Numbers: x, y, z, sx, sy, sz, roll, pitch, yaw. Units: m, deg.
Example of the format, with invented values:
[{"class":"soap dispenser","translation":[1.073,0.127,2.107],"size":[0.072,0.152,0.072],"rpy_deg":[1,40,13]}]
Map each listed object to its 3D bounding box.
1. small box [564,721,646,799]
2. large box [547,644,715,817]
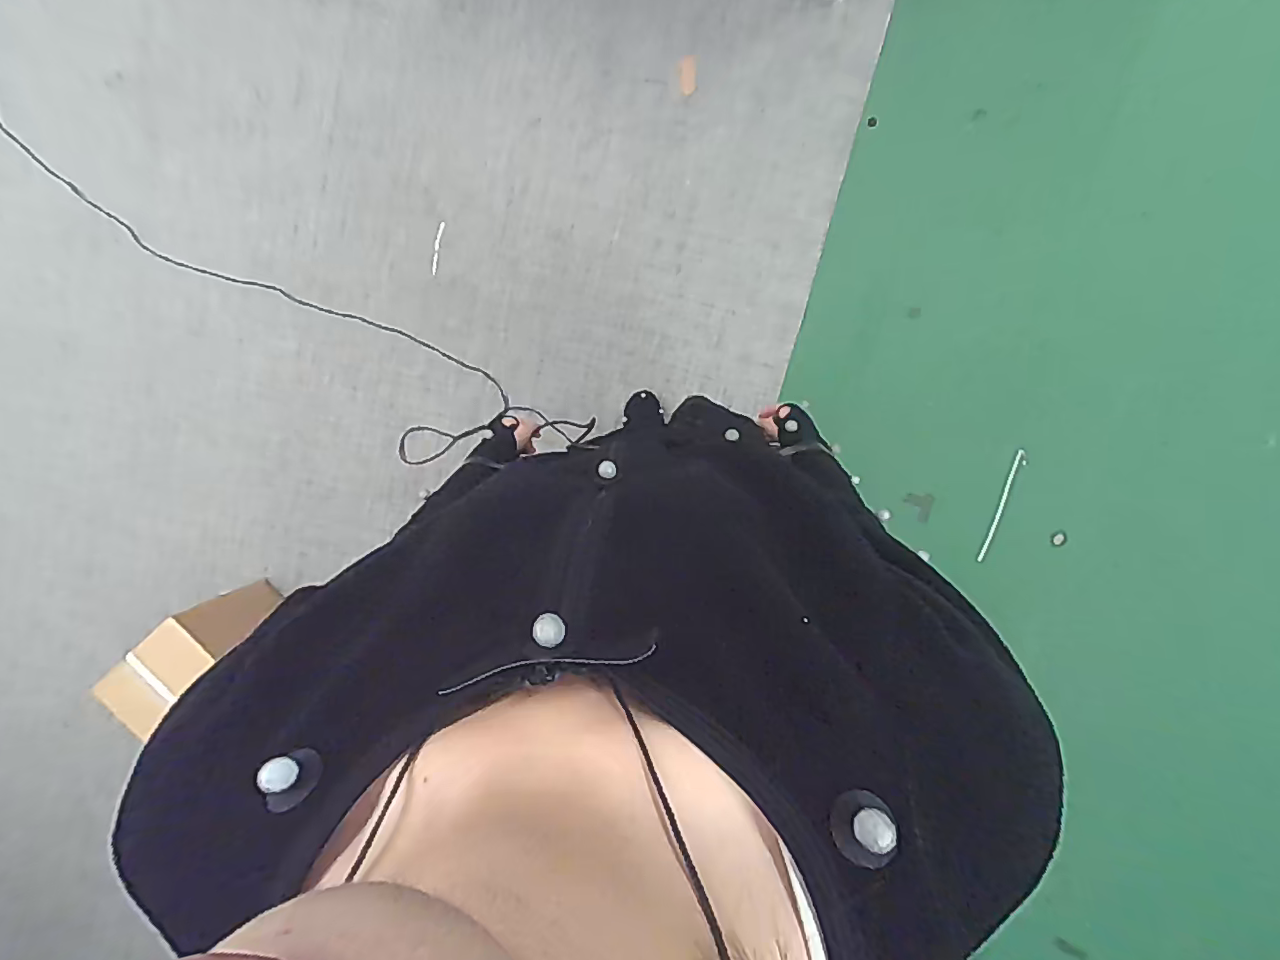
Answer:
[{"class":"small box","translation":[-0.074,0.657,1.192],"size":[0.168,0.176,0.179],"rpy_deg":[1,97,3]},{"class":"large box","translation":[-0.019,0.641,1.433],"size":[0.408,0.320,0.320],"rpy_deg":[0,98,2]}]
